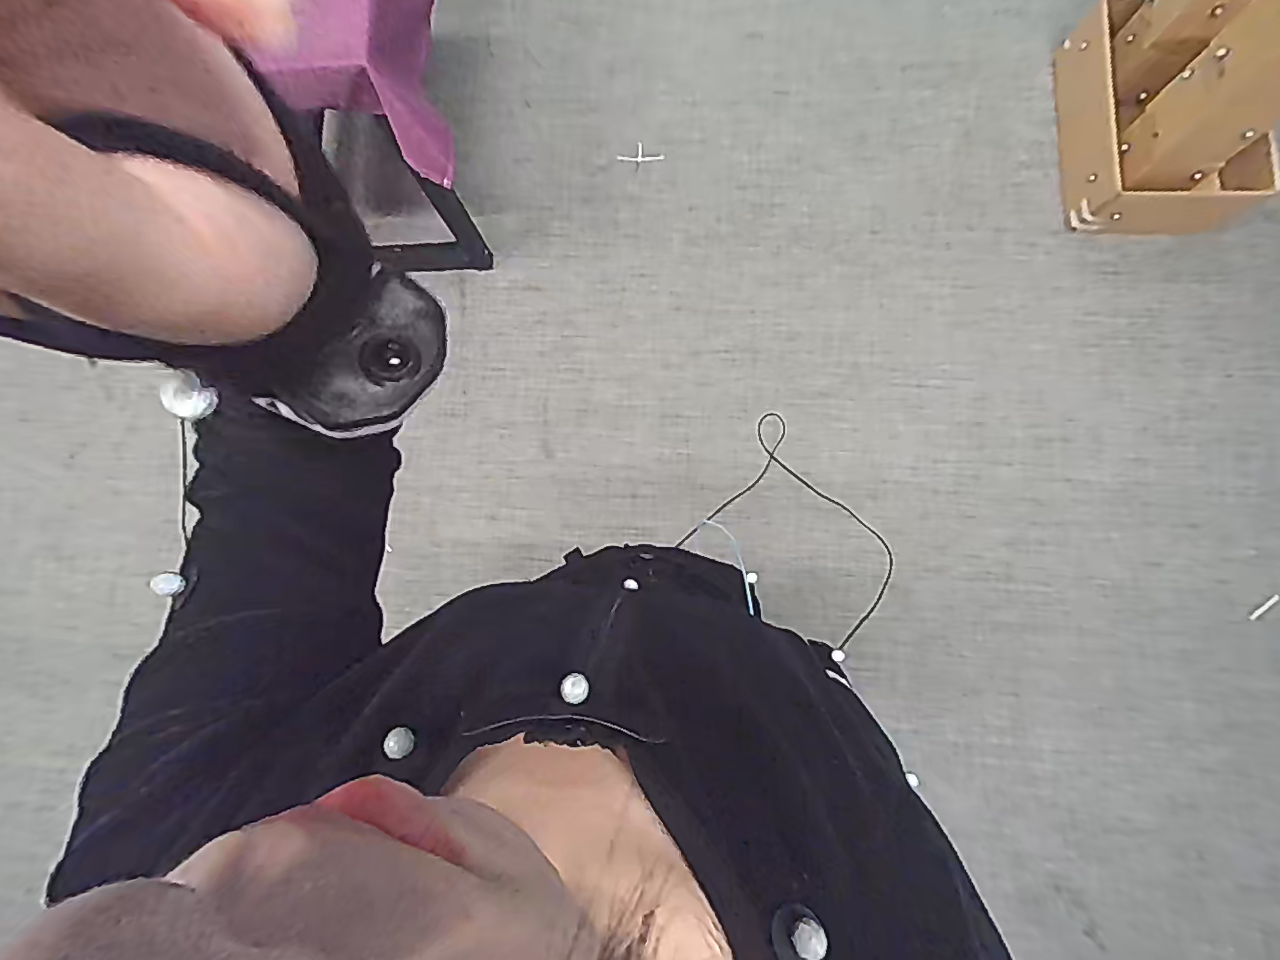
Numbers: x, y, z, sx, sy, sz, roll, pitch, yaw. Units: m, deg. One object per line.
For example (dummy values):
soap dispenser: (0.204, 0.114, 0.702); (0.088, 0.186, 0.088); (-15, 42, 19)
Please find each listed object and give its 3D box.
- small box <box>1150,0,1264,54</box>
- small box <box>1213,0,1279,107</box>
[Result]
small box: (1.426, -1.205, 1.341); (0.179, 0.176, 0.168); (9, 84, 3)
small box: (1.384, -0.925, 1.141); (0.179, 0.176, 0.168); (5, 81, 4)
